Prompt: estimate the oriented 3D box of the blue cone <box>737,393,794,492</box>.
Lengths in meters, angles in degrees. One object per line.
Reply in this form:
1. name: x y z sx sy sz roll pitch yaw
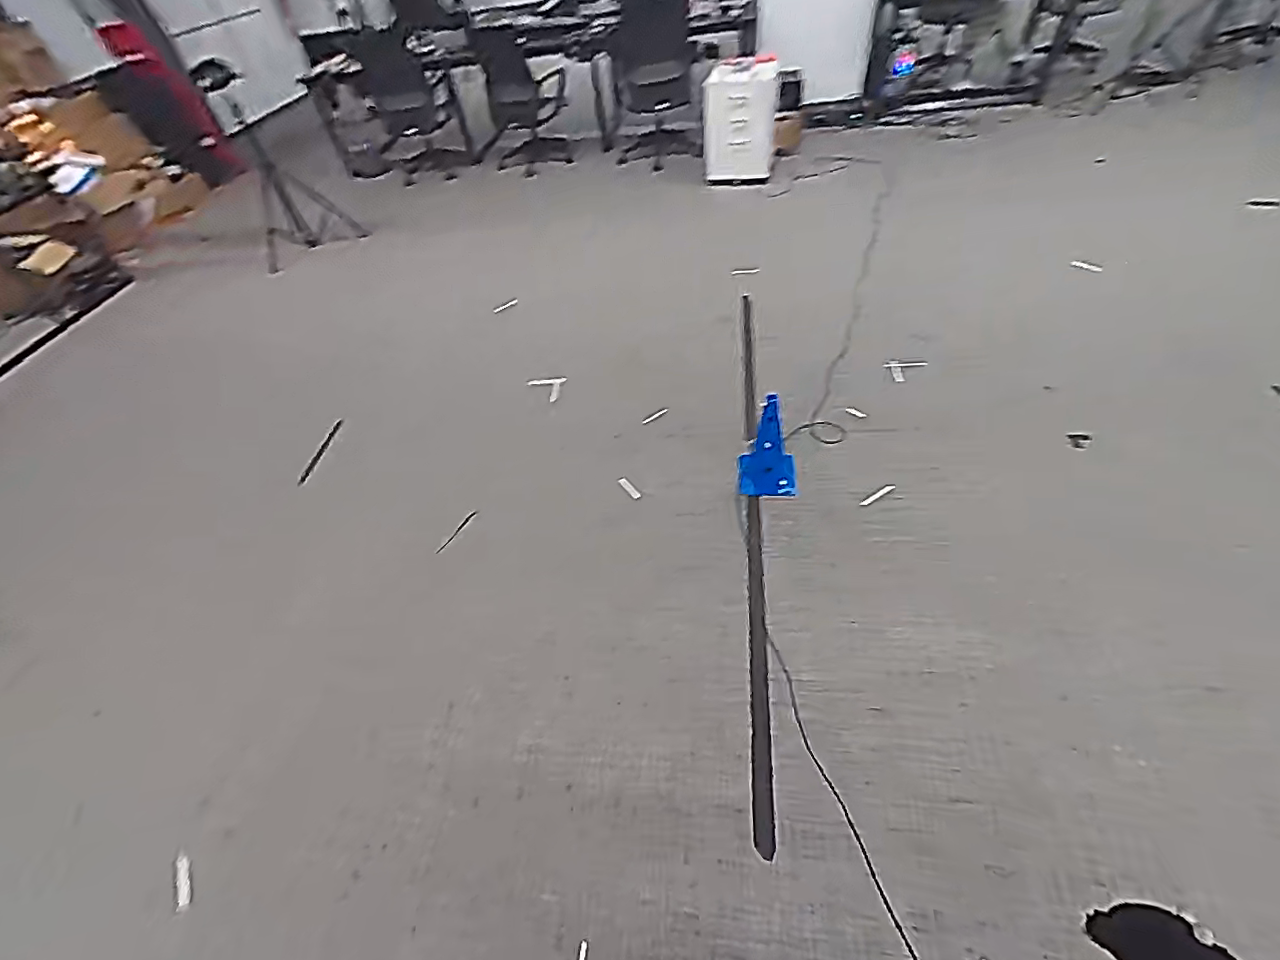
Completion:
1. blue cone: 0.429 -0.141 1.820 0.193 0.380 0.192 -1 47 8
